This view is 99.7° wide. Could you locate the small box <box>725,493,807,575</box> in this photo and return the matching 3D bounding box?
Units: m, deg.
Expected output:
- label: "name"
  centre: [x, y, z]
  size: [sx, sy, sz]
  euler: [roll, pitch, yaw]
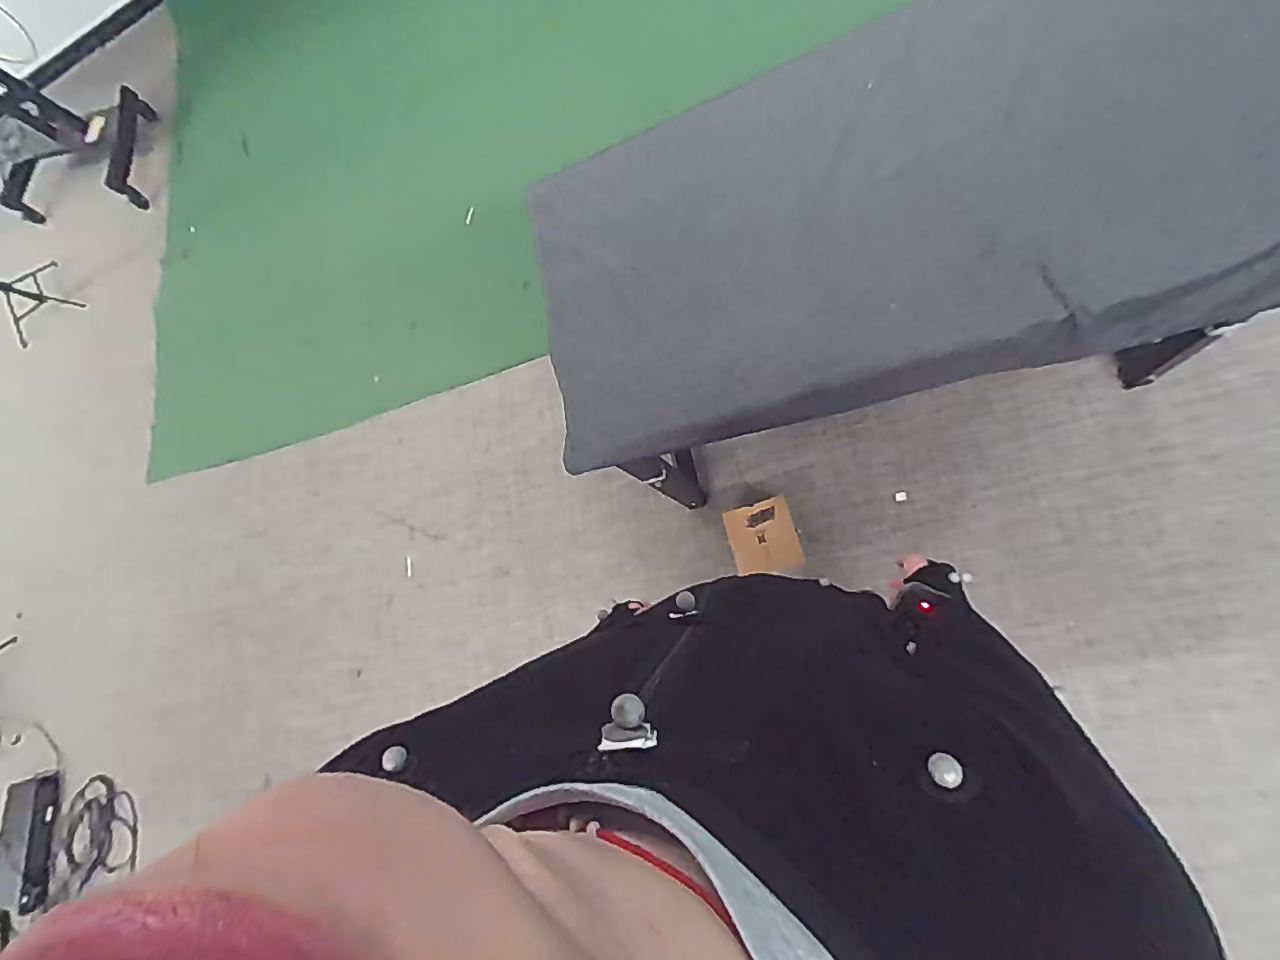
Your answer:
- label: "small box"
  centre: [0.339, 0.150, 1.440]
  size: [0.168, 0.176, 0.179]
  euler: [-18, 75, 16]
